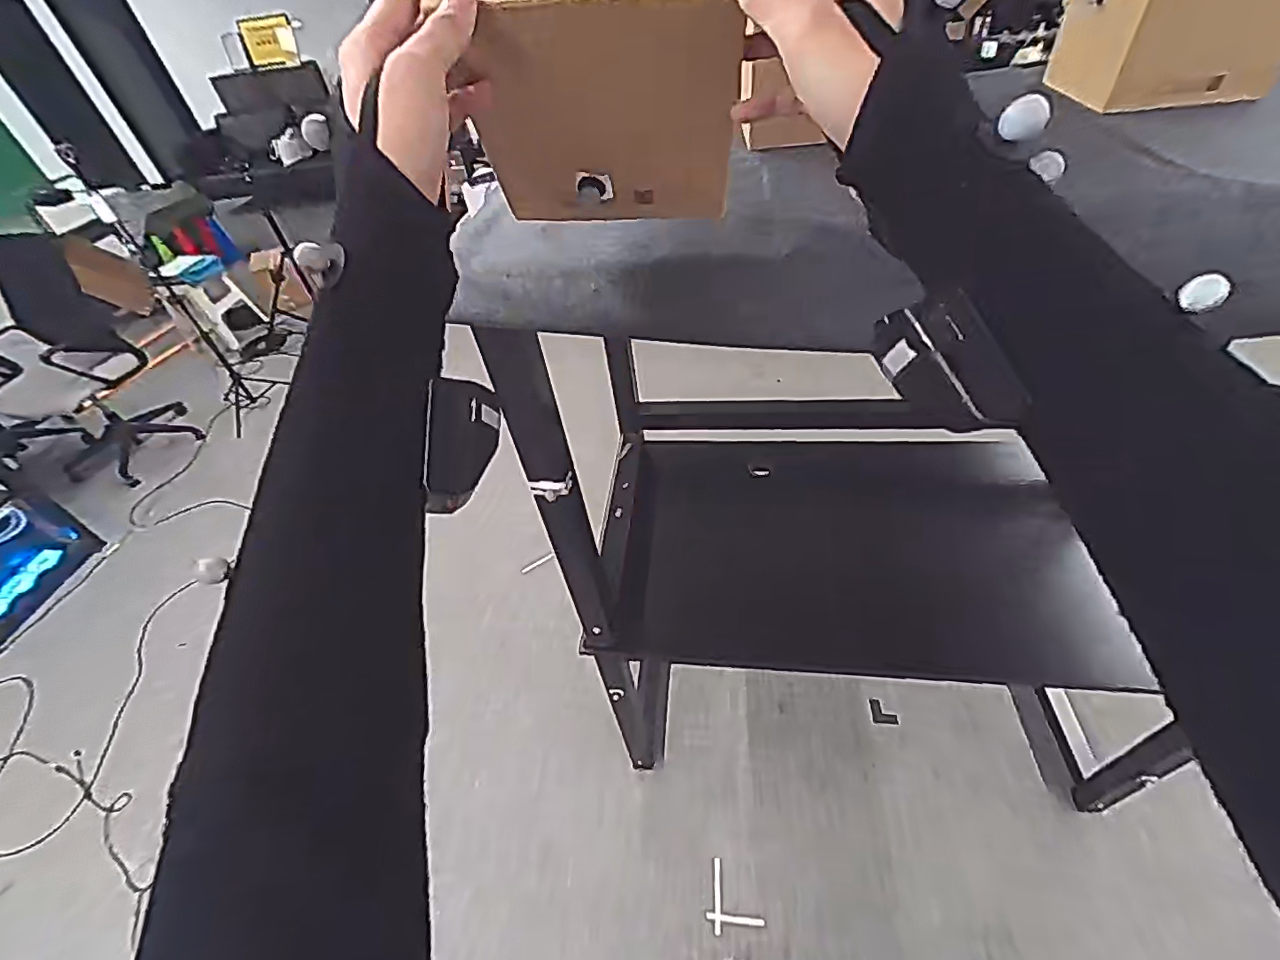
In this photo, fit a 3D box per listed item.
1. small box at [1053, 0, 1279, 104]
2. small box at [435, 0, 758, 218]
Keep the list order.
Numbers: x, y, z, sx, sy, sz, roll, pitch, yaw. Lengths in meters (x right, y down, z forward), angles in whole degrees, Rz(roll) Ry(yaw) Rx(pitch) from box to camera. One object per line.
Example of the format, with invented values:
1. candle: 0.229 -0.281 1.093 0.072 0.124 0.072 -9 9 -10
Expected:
1. small box: 0.610 -0.536 0.601 0.168 0.176 0.179 0 45 9
2. small box: -0.019 -0.302 0.350 0.168 0.176 0.179 0 77 4
